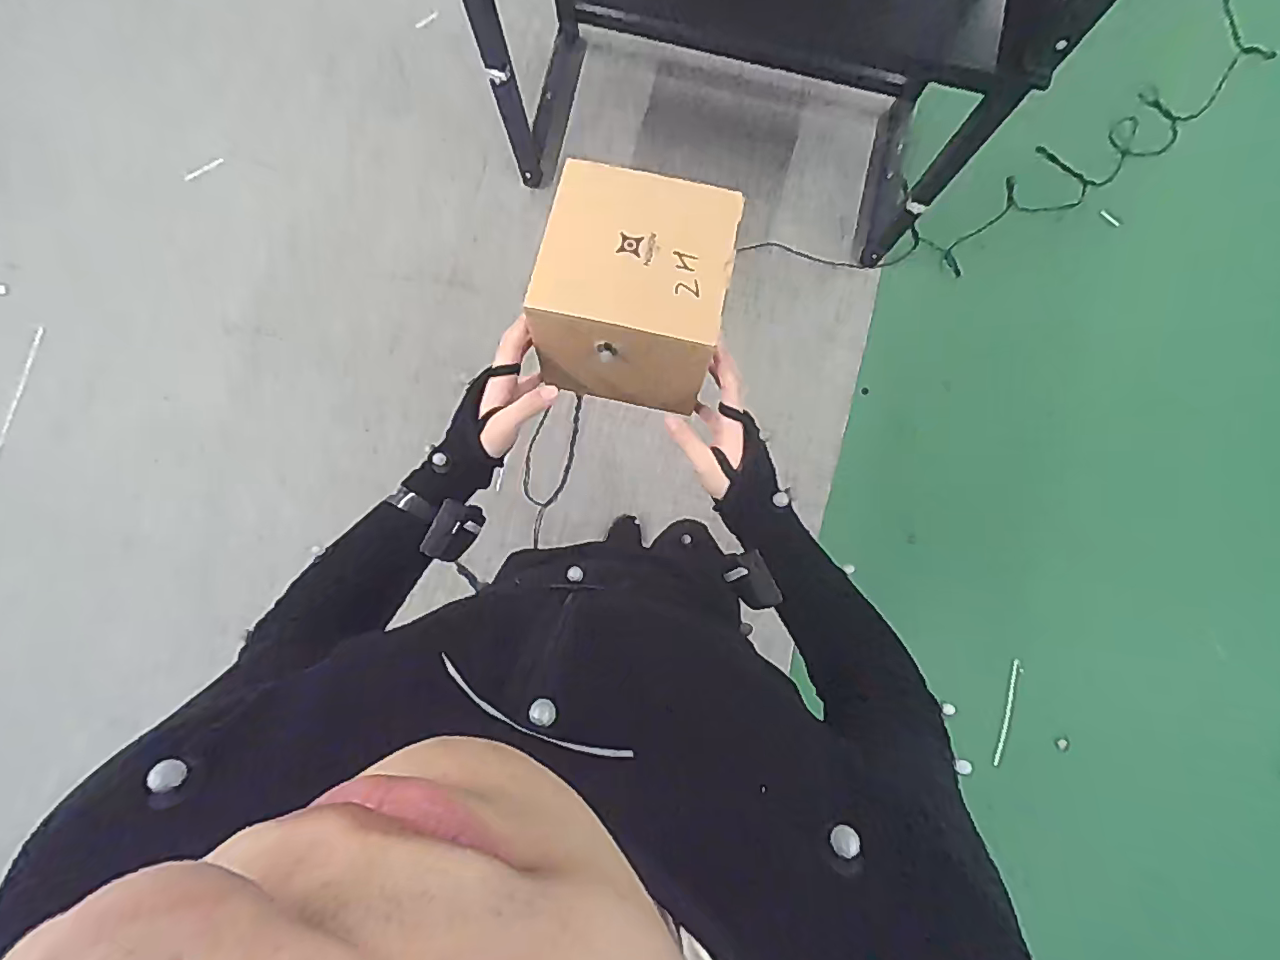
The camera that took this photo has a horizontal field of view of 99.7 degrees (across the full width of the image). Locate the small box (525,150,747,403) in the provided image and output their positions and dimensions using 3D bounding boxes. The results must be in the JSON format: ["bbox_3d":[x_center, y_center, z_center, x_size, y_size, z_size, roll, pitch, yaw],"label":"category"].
[{"bbox_3d":[-0.004,-0.198,0.568,0.179,0.176,0.168,13,75,-1],"label":"small box"}]
